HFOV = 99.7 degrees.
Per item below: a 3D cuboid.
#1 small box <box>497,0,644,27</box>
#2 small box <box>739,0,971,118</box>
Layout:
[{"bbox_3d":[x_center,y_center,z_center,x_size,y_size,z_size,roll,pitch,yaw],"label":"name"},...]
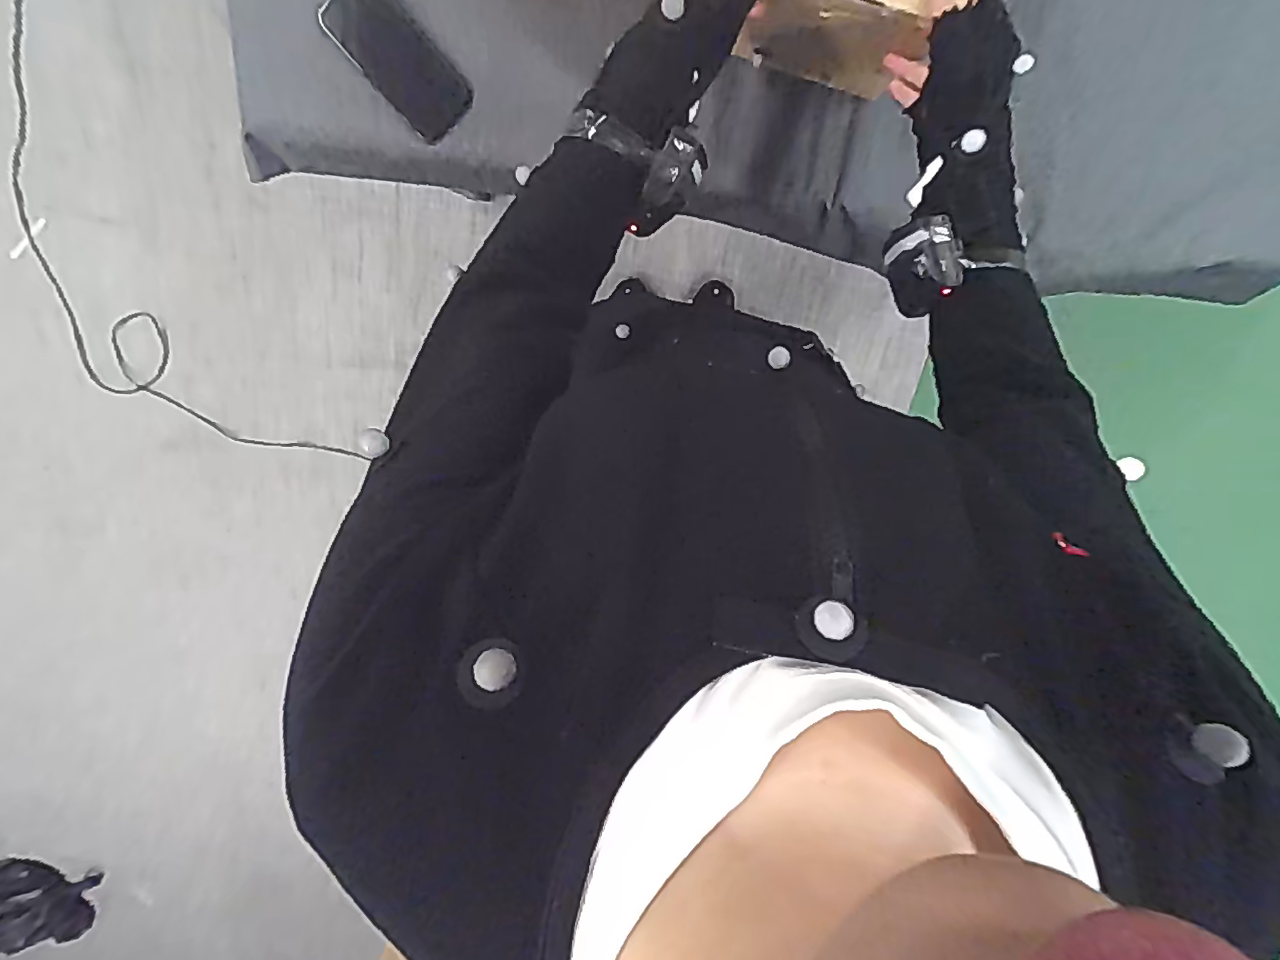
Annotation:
[{"bbox_3d":[-0.071,-0.537,0.459,0.168,0.176,0.179,8,109,0],"label":"small box"},{"bbox_3d":[0.194,-0.458,0.477,0.168,0.176,0.179,15,107,-3],"label":"small box"}]
